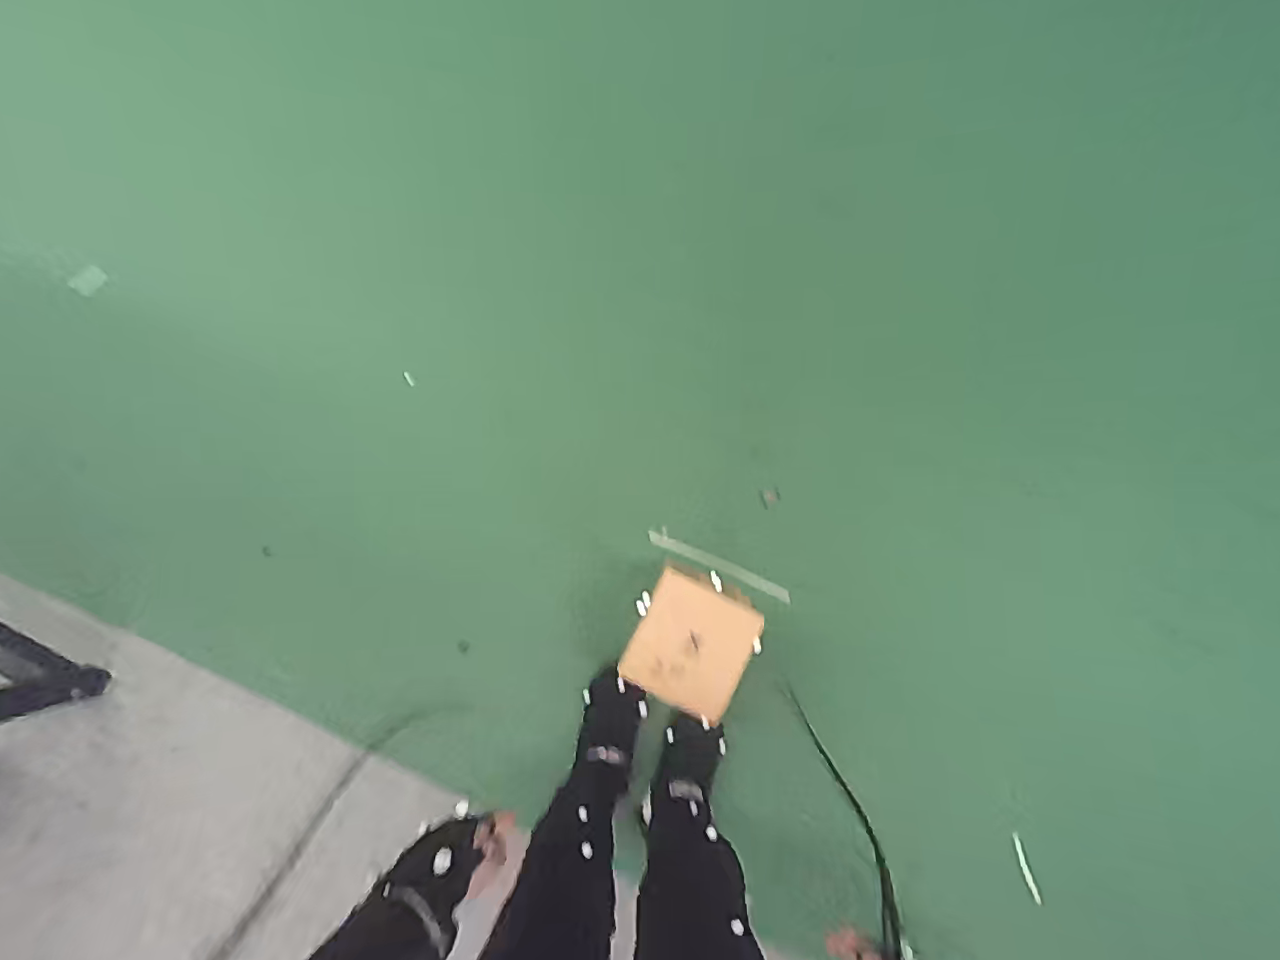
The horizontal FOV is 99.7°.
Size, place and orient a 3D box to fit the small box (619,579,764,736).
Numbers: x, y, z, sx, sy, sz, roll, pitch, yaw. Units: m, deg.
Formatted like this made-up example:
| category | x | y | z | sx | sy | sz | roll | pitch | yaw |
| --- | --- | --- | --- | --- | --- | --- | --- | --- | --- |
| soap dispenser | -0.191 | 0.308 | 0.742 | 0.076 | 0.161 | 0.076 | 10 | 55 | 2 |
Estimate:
| category | x | y | z | sx | sy | sz | roll | pitch | yaw |
| --- | --- | --- | --- | --- | --- | --- | --- | --- | --- |
| small box | 0.081 | 0.275 | 0.888 | 0.168 | 0.176 | 0.179 | 26 | 85 | 7 |
